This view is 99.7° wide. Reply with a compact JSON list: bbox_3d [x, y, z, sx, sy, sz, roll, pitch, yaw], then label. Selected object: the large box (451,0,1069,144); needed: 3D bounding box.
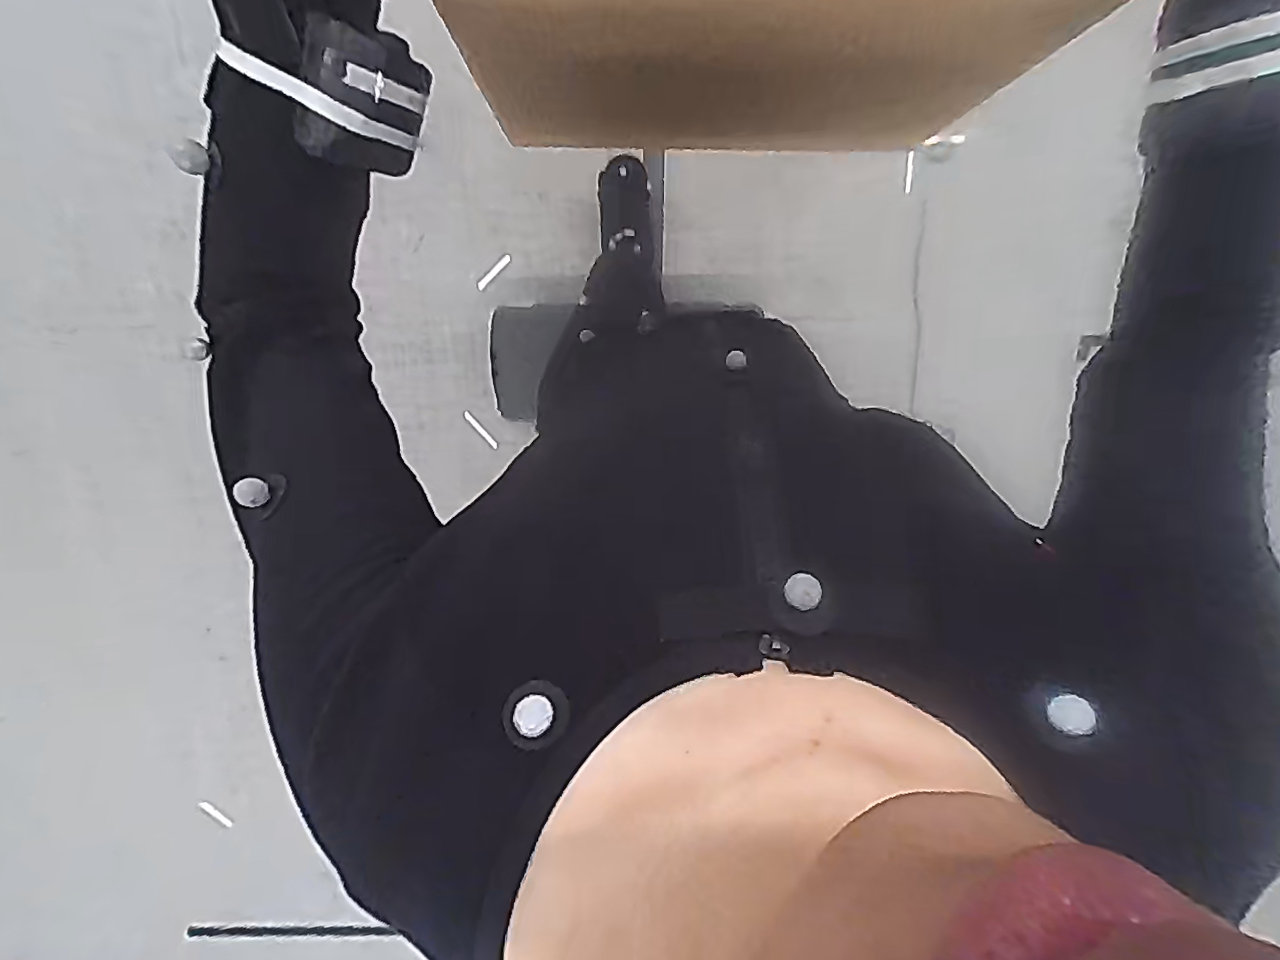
[{"bbox_3d":[0.073,-0.456,0.364,0.408,0.320,0.320,-1,103,-2],"label":"large box"}]
